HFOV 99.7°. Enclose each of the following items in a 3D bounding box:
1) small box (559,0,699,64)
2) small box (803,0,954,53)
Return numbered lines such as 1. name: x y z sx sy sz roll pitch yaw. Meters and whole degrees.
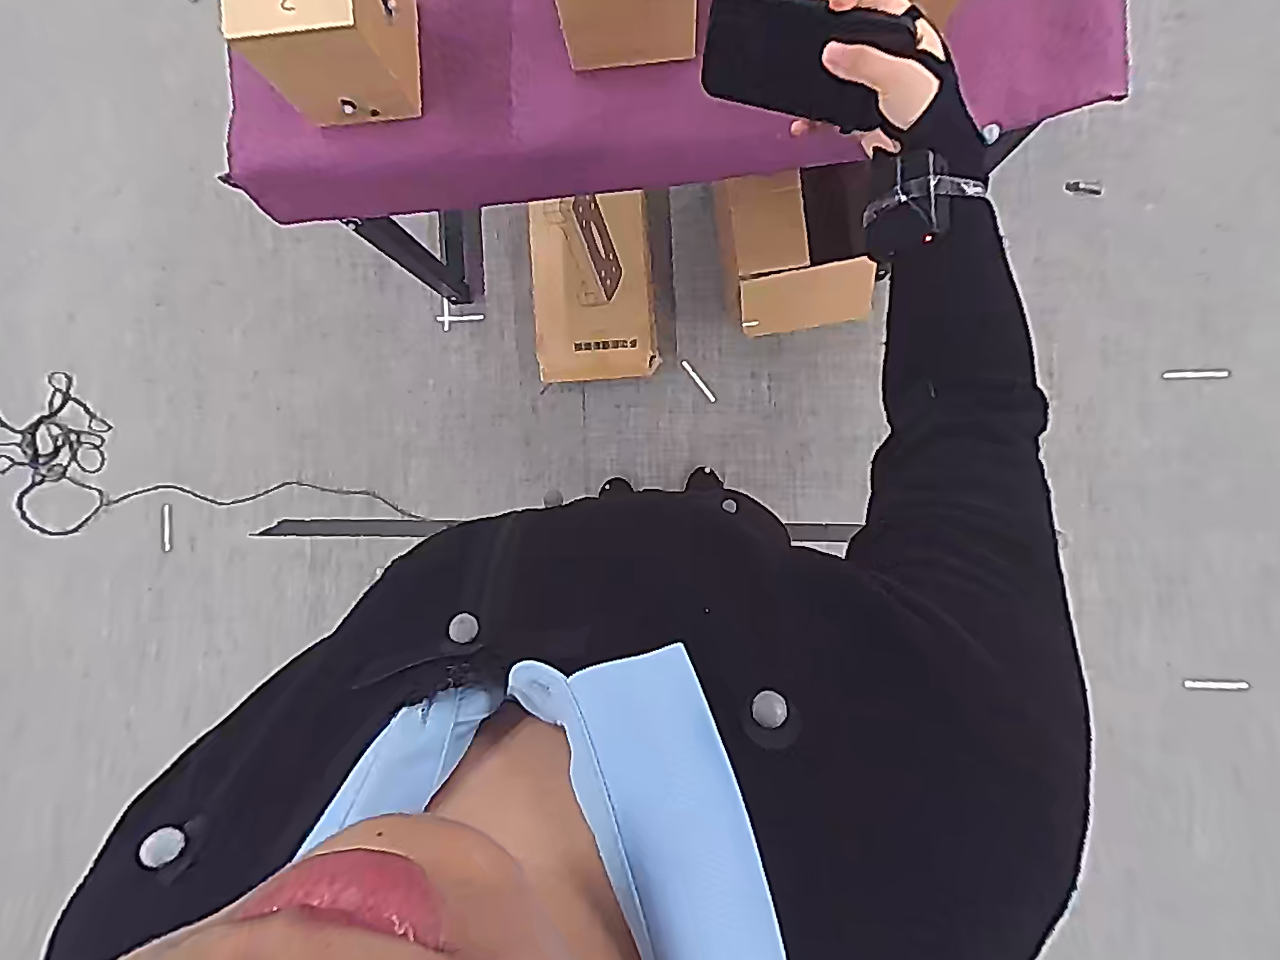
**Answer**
1. small box: -0.015 -0.666 0.673 0.179 0.176 0.168 -3 88 4
2. small box: 0.303 -0.658 0.651 0.179 0.176 0.168 4 91 4
